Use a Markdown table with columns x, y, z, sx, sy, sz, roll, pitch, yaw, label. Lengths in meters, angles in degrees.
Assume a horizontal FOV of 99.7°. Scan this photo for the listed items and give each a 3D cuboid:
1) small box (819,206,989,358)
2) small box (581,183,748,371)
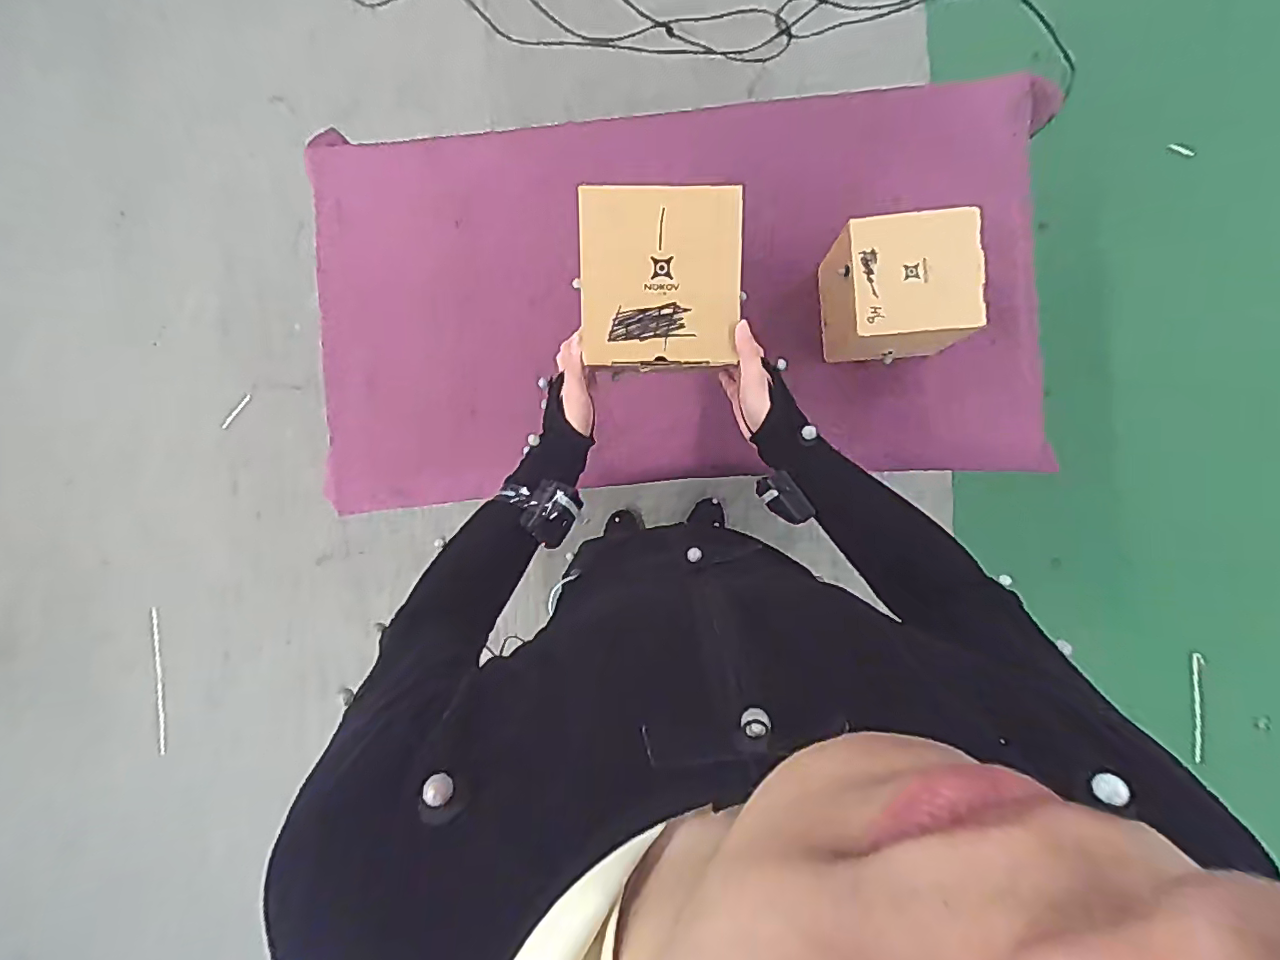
| x | y | z | sx | sy | sz | roll | pitch | yaw | label |
| --- | --- | --- | --- | --- | --- | --- | --- | --- | --- |
| 0.385 | -0.286 | 0.814 | 0.179 | 0.176 | 0.168 | -4 | 89 | 3 | small box |
| 0.023 | -0.216 | 0.618 | 0.168 | 0.176 | 0.179 | -1 | 98 | -2 | small box |
